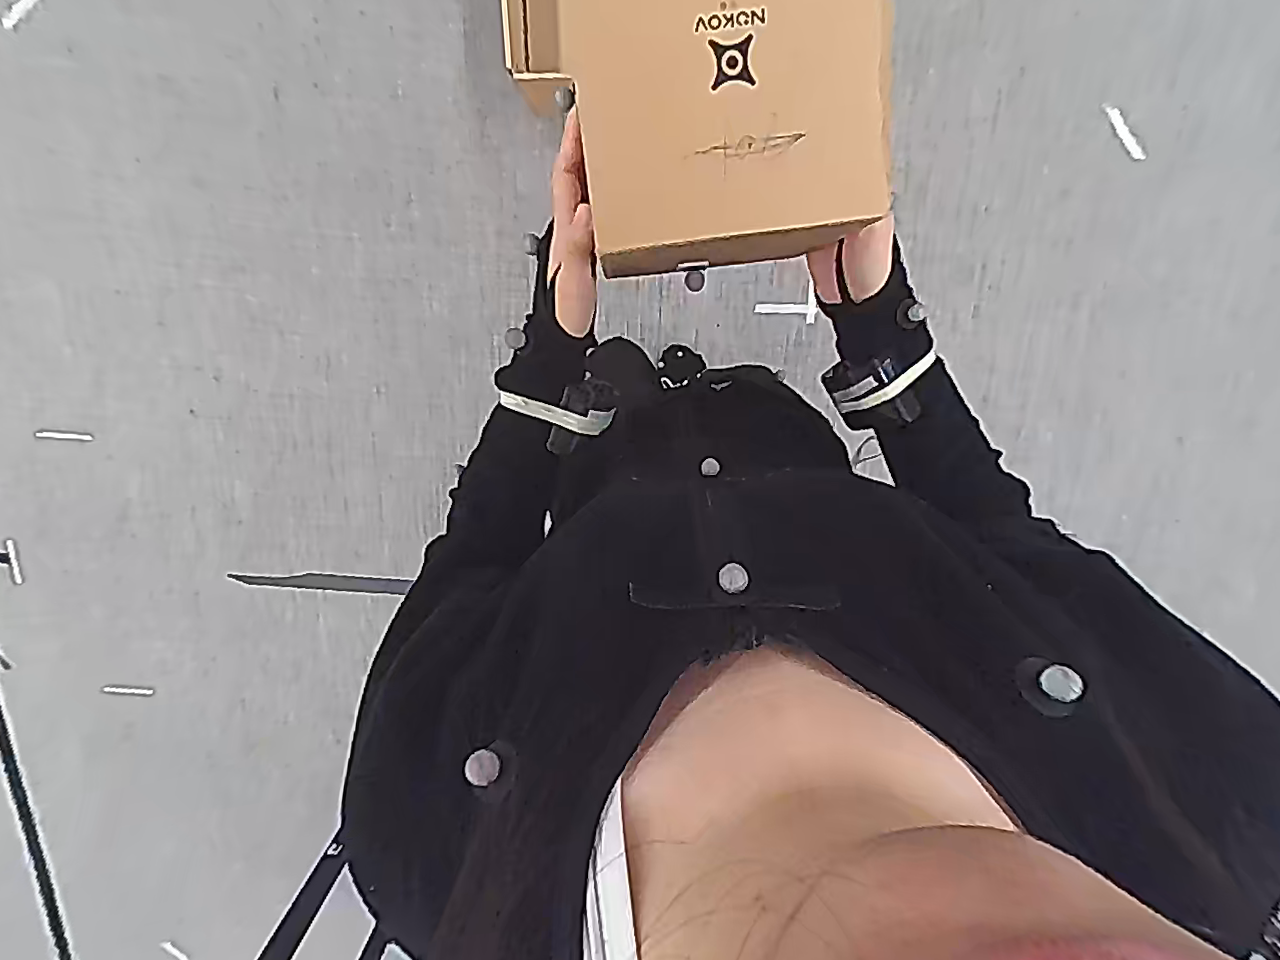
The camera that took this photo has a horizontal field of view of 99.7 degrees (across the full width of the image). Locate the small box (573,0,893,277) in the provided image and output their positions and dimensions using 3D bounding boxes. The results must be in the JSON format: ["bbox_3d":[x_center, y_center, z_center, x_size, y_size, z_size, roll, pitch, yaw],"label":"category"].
[{"bbox_3d":[0.047,-0.242,0.358,0.168,0.176,0.179,-7,106,1],"label":"small box"}]
